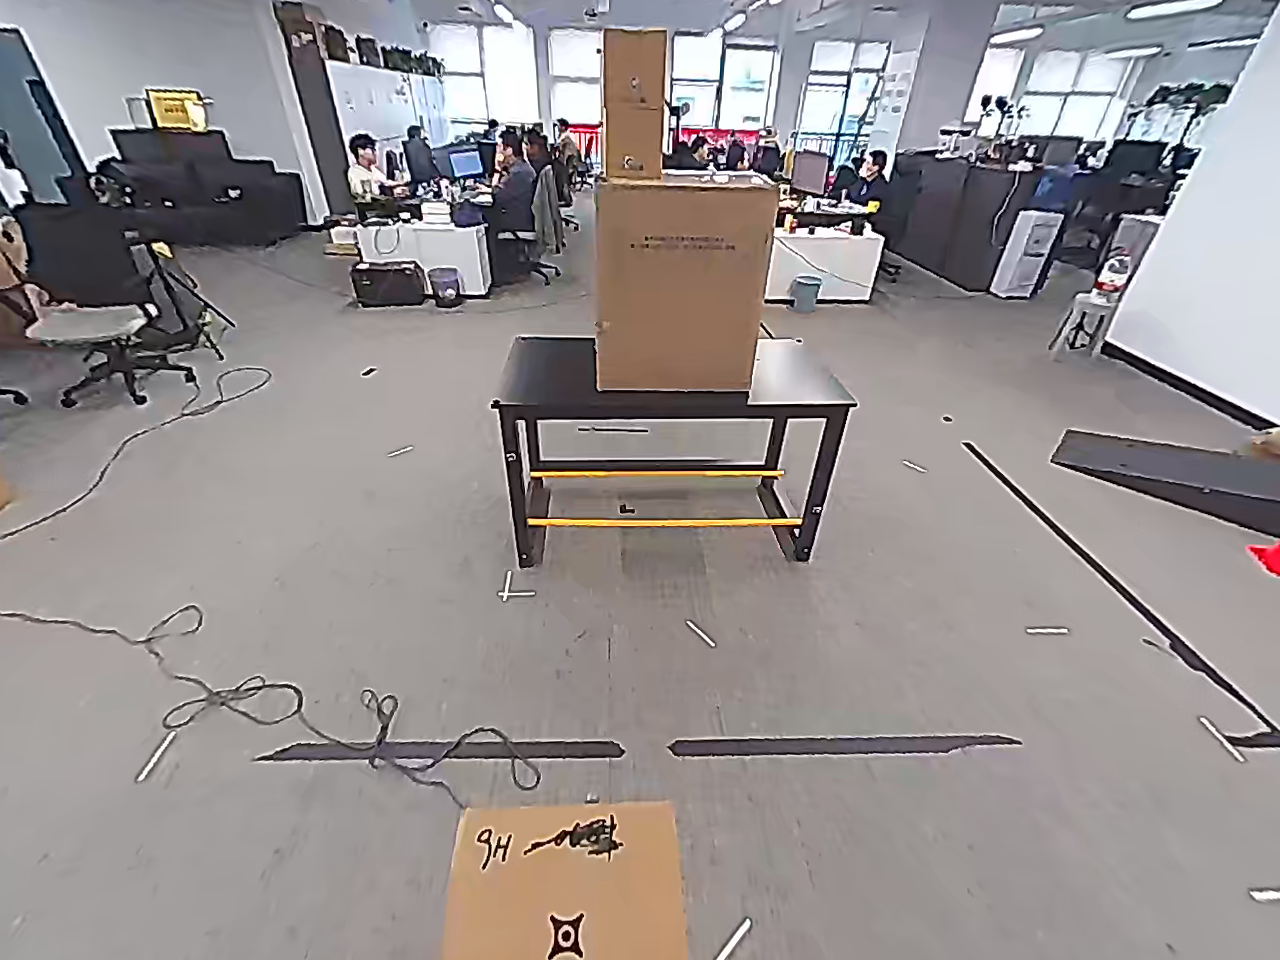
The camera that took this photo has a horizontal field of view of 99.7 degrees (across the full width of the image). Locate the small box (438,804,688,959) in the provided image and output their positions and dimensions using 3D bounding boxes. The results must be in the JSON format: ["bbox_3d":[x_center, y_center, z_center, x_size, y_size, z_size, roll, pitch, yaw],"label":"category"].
[{"bbox_3d":[-0.054,0.367,0.411,0.168,0.176,0.179,1,47,-6],"label":"small box"}]

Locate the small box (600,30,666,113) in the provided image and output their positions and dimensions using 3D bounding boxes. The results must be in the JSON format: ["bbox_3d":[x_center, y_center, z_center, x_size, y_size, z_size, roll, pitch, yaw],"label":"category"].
[{"bbox_3d":[-0.024,-1.113,1.483,0.168,0.176,0.179,-2,36,-6],"label":"small box"}]

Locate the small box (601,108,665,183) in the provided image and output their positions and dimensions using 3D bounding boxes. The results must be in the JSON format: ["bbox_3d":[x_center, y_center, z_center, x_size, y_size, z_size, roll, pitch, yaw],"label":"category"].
[{"bbox_3d":[-0.027,-0.980,1.581,0.168,0.176,0.179,-4,37,-8],"label":"small box"}]
